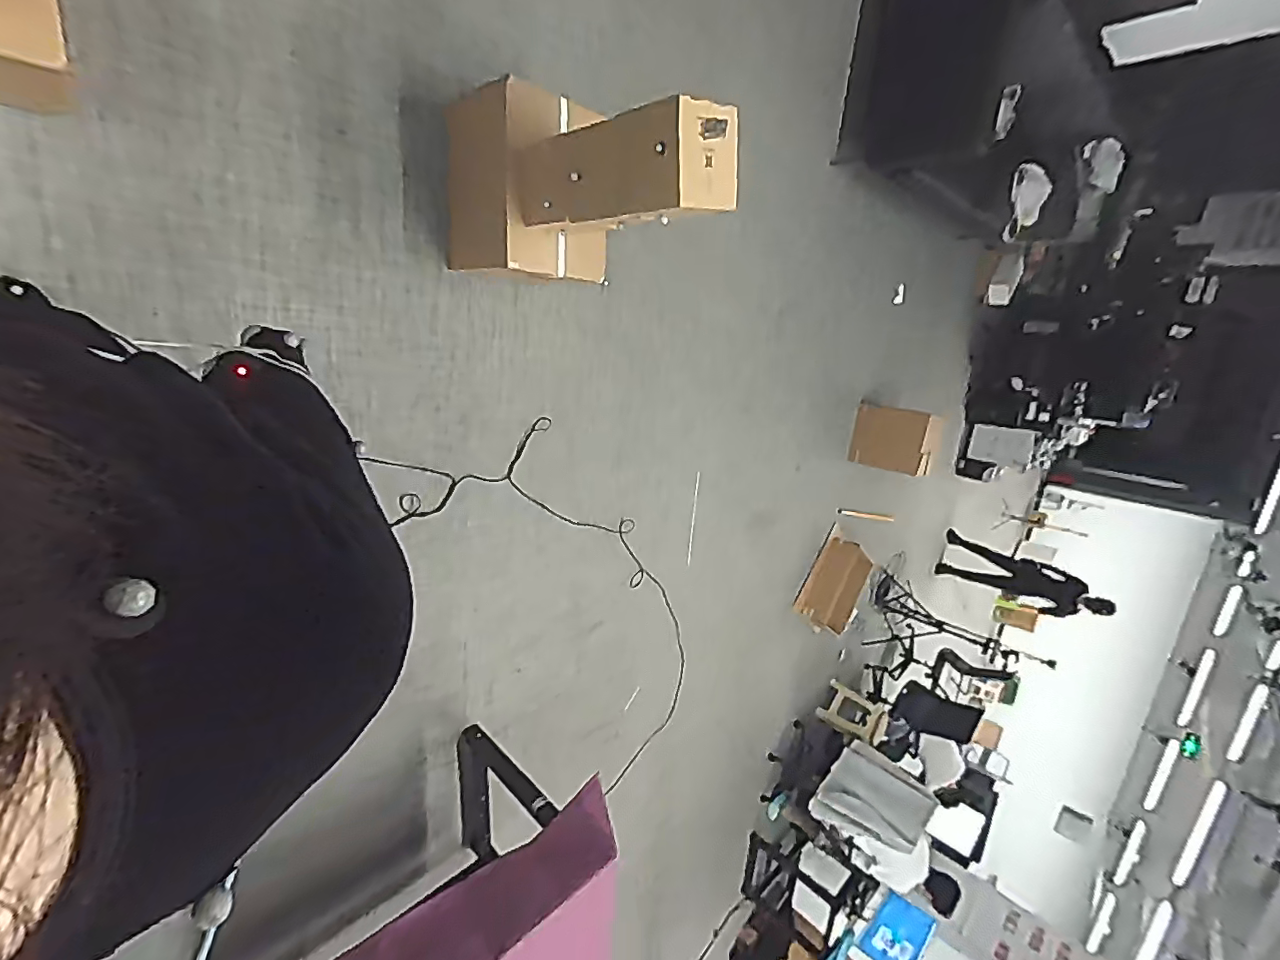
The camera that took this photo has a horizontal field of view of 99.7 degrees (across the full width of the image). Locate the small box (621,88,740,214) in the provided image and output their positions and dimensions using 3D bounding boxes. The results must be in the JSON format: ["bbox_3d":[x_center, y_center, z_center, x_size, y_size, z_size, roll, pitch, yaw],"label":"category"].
[{"bbox_3d":[0.076,-0.624,1.048,0.168,0.176,0.179,-21,119,-38],"label":"small box"}]

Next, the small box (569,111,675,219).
[{"bbox_3d":[-0.037,-0.663,1.162,0.168,0.176,0.179,-21,119,-39],"label":"small box"}]

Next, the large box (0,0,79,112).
[{"bbox_3d":[-1.009,-0.788,0.715,0.320,0.320,0.408,-11,111,-43],"label":"large box"}]
